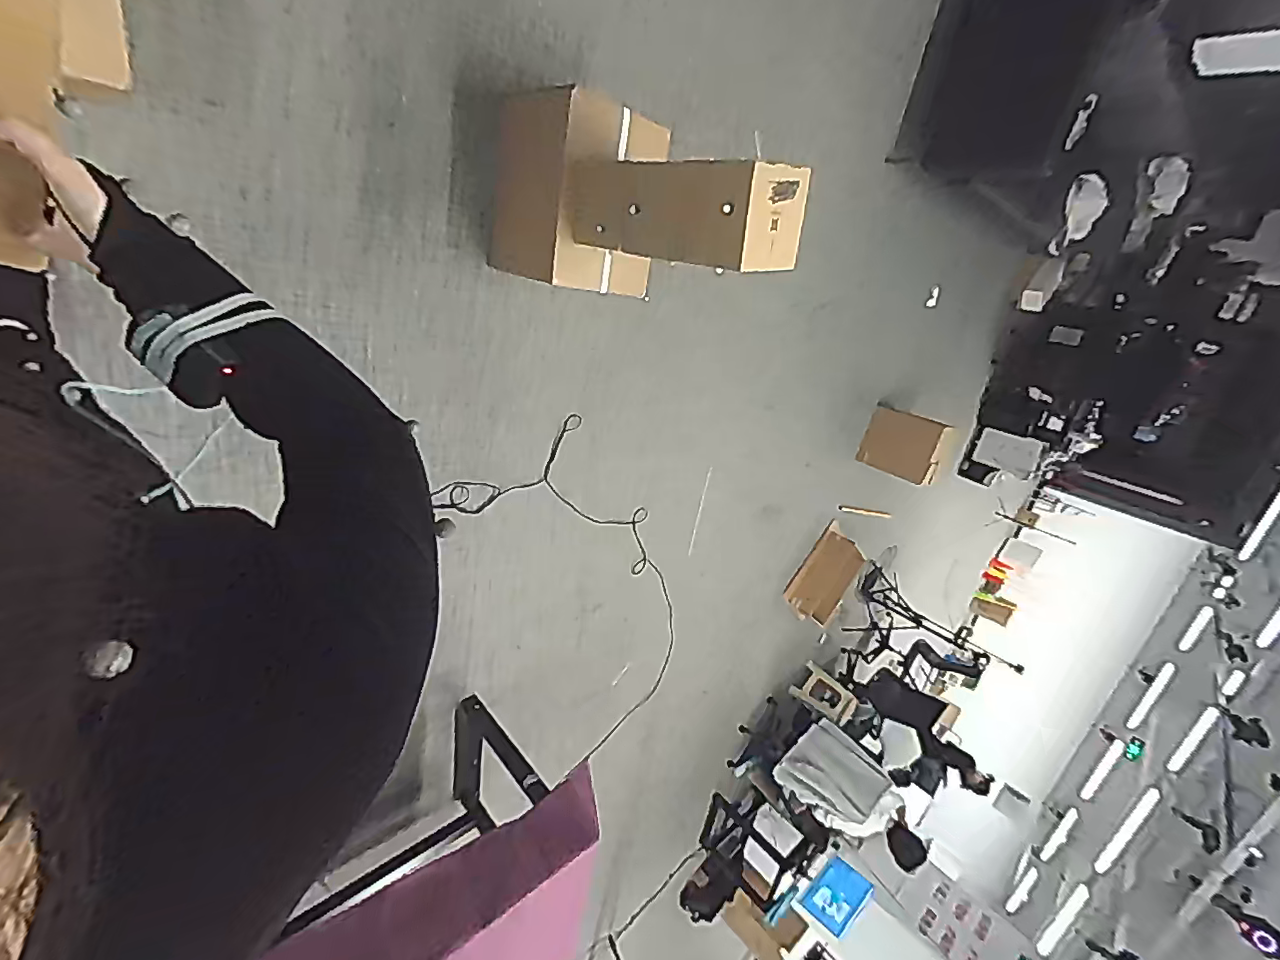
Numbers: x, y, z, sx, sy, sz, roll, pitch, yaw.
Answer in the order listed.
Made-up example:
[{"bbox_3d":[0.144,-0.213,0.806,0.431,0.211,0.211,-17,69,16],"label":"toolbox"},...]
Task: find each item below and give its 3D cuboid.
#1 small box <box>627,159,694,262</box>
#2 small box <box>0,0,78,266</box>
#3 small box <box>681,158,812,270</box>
[{"bbox_3d":[0.086,-0.563,1.133,0.168,0.176,0.179,-19,126,-37],"label":"small box"},{"bbox_3d":[-0.541,-0.296,0.397,0.168,0.176,0.179,4,74,-47],"label":"small box"},{"bbox_3d":[0.194,-0.501,1.024,0.168,0.176,0.179,-19,126,-36],"label":"small box"}]
